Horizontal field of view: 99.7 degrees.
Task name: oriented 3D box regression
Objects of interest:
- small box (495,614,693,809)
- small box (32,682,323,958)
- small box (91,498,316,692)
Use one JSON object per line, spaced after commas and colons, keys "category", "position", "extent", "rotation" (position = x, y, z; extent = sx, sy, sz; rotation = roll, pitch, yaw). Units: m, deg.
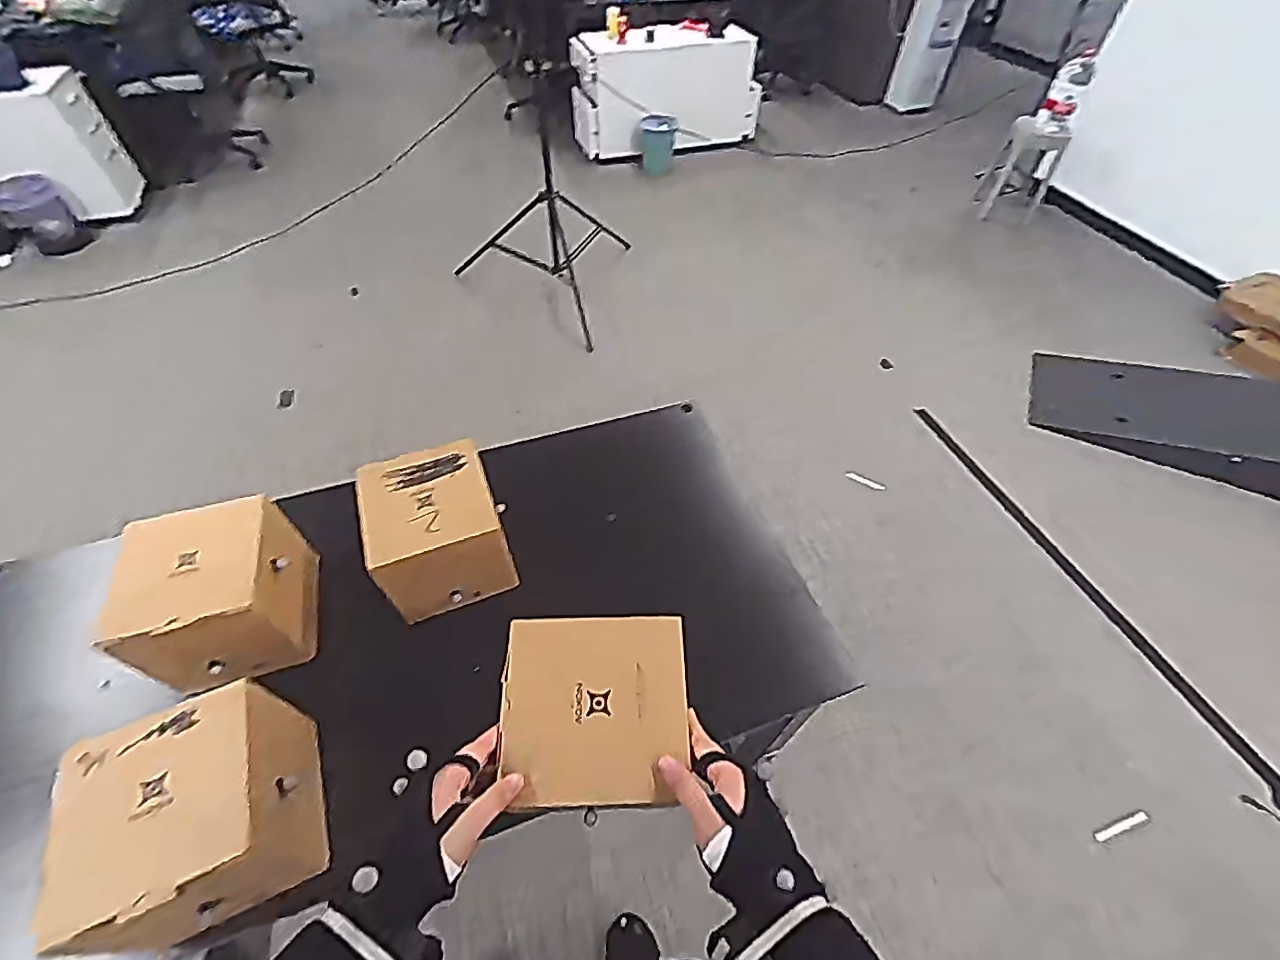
{"category": "small box", "position": [-0.042, 0.251, 0.577], "extent": [0.179, 0.176, 0.168], "rotation": [-1, 58, -2]}
{"category": "small box", "position": [-0.461, 0.351, 0.571], "extent": [0.168, 0.176, 0.179], "rotation": [-20, 54, -17]}
{"category": "small box", "position": [-0.562, 0.156, 0.730], "extent": [0.168, 0.176, 0.179], "rotation": [-14, 53, -13]}
